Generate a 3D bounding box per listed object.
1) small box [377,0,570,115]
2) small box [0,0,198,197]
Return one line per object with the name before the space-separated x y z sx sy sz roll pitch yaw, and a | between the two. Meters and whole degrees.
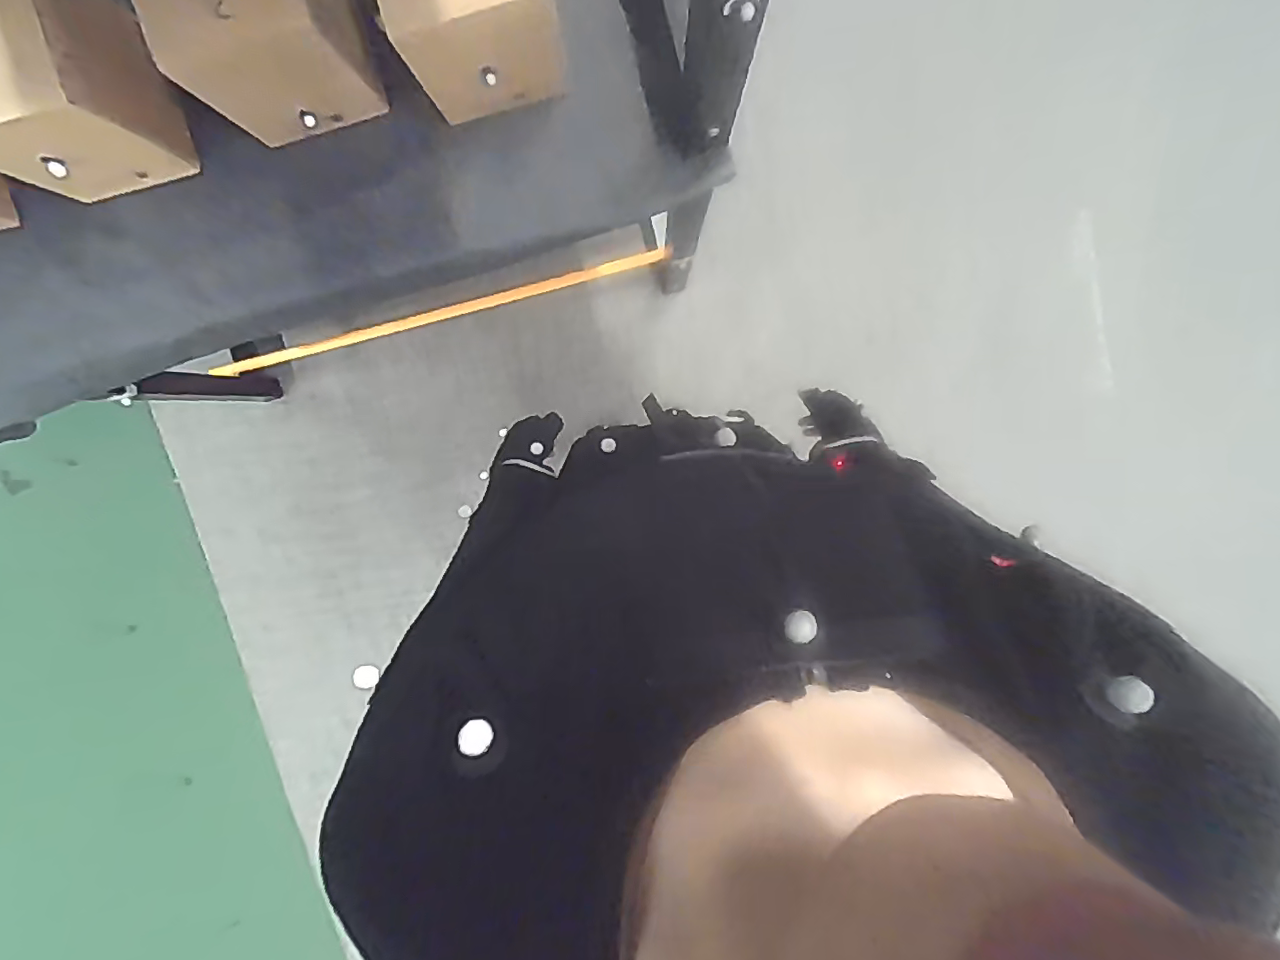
small box | -0.185 -0.540 0.595 0.168 0.176 0.179 -14 96 3
small box | -0.666 -0.451 0.620 0.168 0.176 0.179 -13 97 3
